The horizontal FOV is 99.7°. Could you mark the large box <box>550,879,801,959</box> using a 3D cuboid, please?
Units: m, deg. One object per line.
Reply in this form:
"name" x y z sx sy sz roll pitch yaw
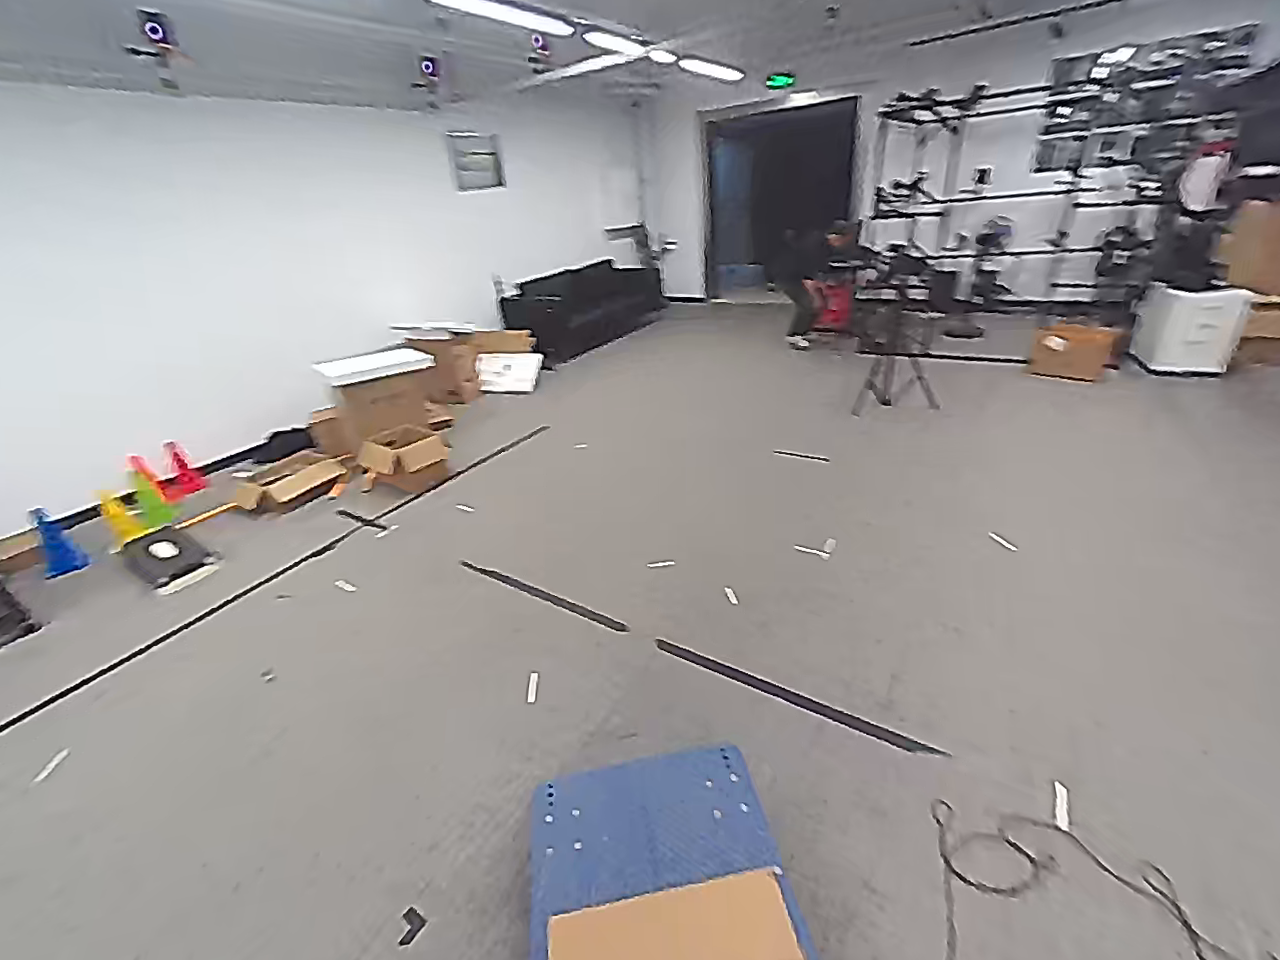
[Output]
"large box" 0.077 0.938 0.874 0.408 0.320 0.320 -8 28 -6
